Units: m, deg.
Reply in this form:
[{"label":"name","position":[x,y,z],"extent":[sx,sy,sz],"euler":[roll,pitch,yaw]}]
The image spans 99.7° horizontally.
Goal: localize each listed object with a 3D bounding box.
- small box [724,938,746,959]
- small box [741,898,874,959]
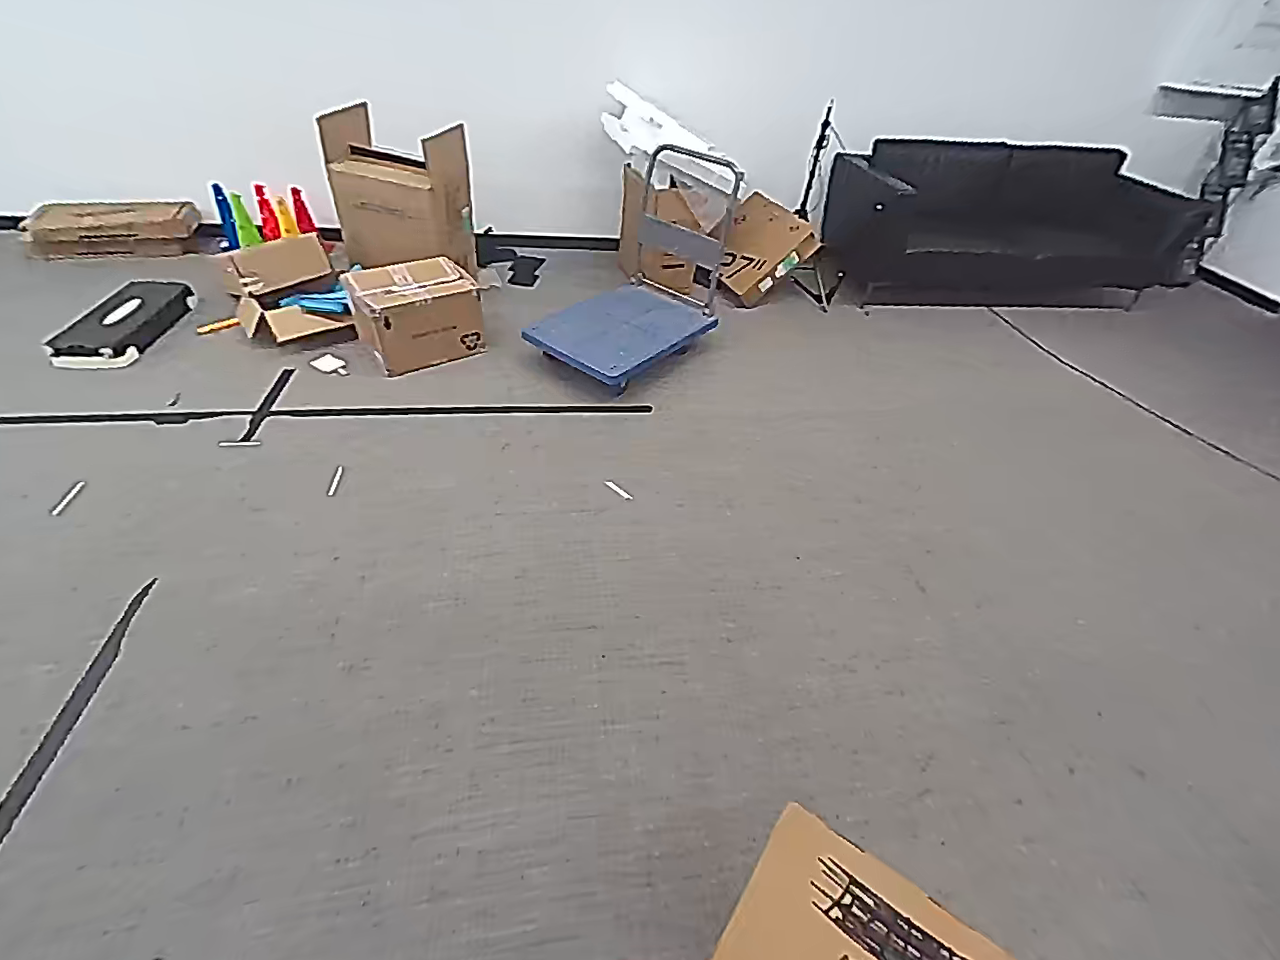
[{"label":"small box","position":[0.256,0.942,0.977],"extent":[0.179,0.176,0.168],"euler":[0,42,-9]},{"label":"small box","position":[0.279,0.819,0.873],"extent":[0.168,0.176,0.179],"euler":[-5,44,-14]}]
